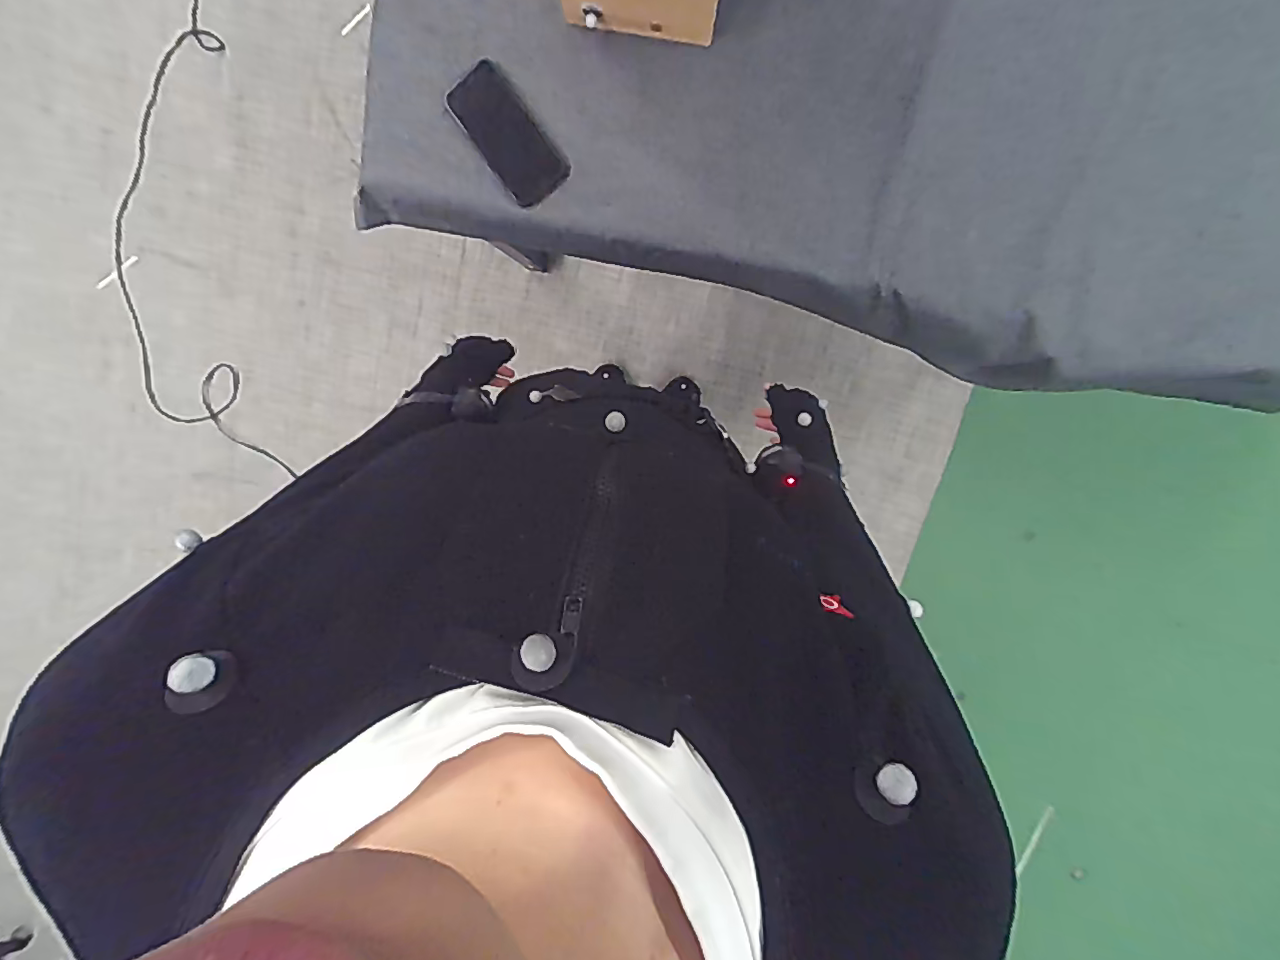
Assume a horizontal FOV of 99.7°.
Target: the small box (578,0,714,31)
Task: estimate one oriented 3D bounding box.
[{"bbox_3d":[0.007,-0.580,0.514,0.168,0.176,0.179,9,102,0],"label":"small box"}]
